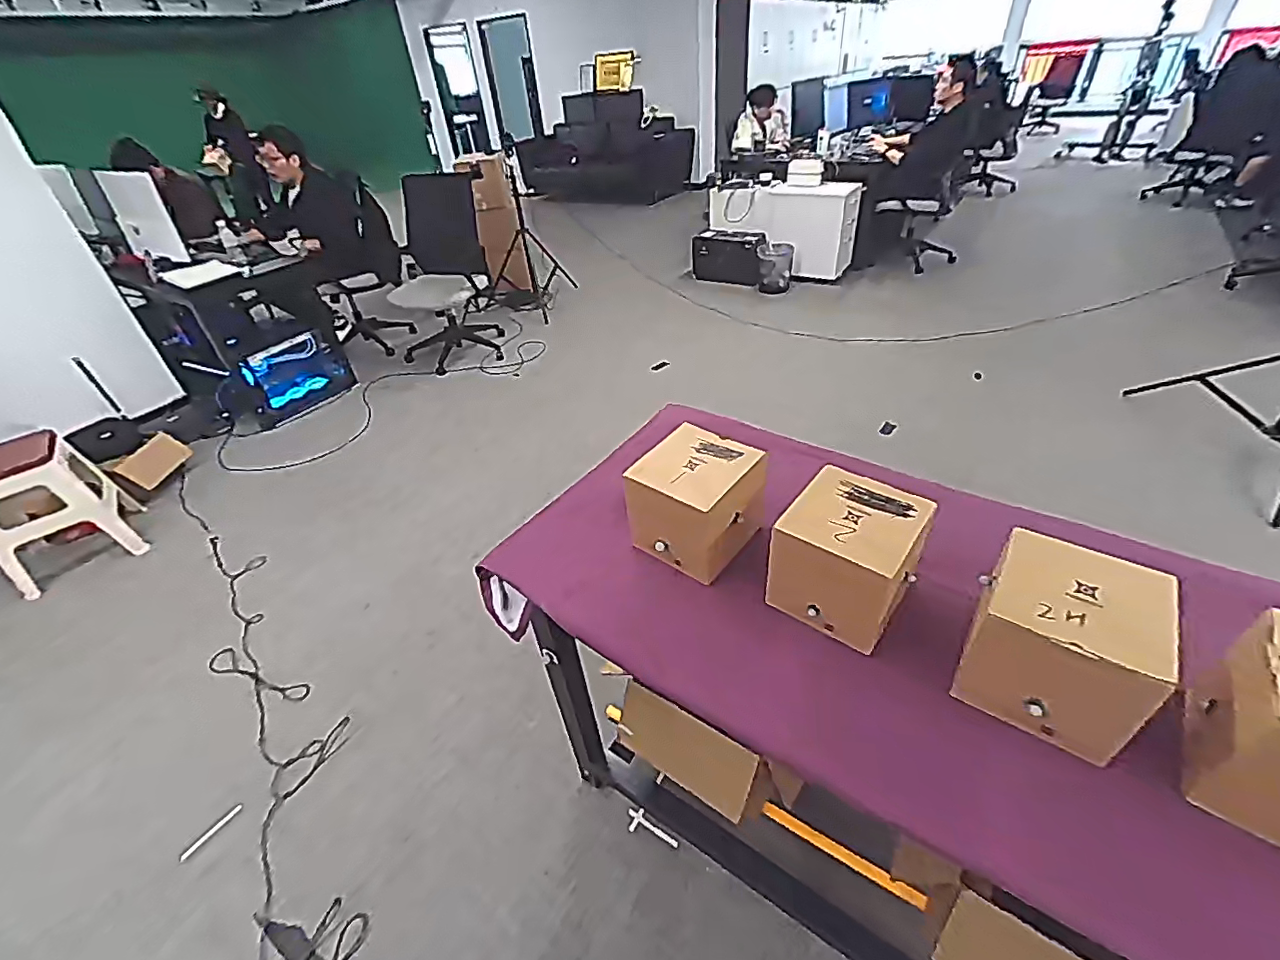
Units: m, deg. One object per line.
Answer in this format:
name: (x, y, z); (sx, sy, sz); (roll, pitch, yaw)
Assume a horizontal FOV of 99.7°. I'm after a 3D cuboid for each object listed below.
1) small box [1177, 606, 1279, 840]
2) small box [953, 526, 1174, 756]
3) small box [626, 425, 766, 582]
small box: (0.707, 0.271, 0.550); (0.179, 0.176, 0.168); (23, 45, 33)
small box: (0.514, 0.194, 0.672); (0.168, 0.176, 0.179); (21, 45, 31)
small box: (0.096, 0.037, 0.924); (0.168, 0.176, 0.179); (25, 49, 33)
